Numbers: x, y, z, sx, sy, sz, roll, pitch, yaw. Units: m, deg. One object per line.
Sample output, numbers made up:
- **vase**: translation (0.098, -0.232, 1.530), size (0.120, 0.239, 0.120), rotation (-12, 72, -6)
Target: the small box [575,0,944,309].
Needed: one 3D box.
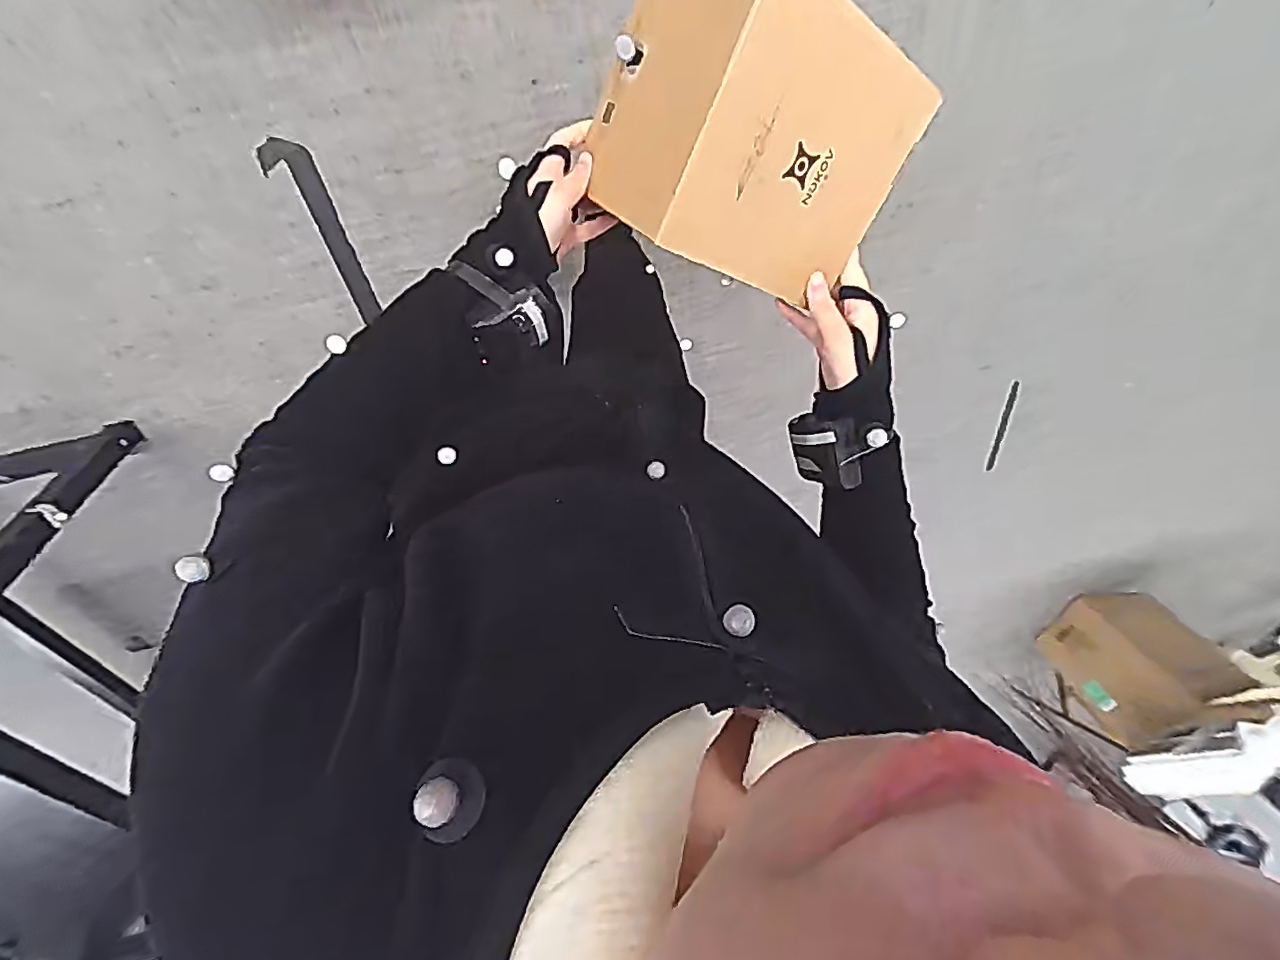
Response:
- **small box**: translation (0.077, -0.260, 0.416), size (0.179, 0.176, 0.168), rotation (6, 123, -36)
